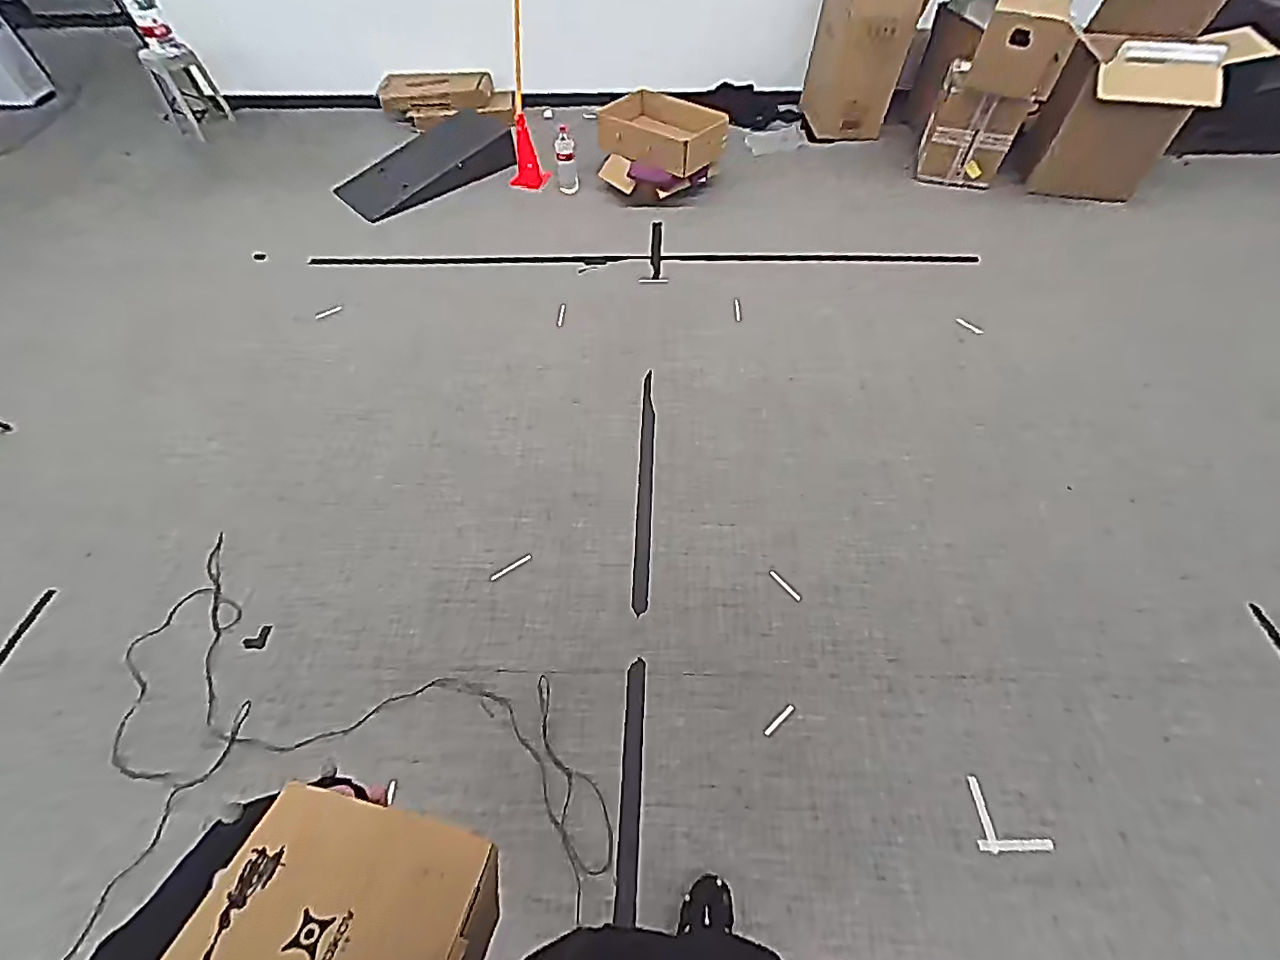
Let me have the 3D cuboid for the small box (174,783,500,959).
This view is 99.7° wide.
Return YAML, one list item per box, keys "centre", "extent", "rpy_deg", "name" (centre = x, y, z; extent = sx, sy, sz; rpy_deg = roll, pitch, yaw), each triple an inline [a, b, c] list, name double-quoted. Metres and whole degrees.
- centre: [-0.219, 0.372, 0.410]
  extent: [0.179, 0.176, 0.168]
  rpy_deg: [13, 35, 4]
  name: "small box"
